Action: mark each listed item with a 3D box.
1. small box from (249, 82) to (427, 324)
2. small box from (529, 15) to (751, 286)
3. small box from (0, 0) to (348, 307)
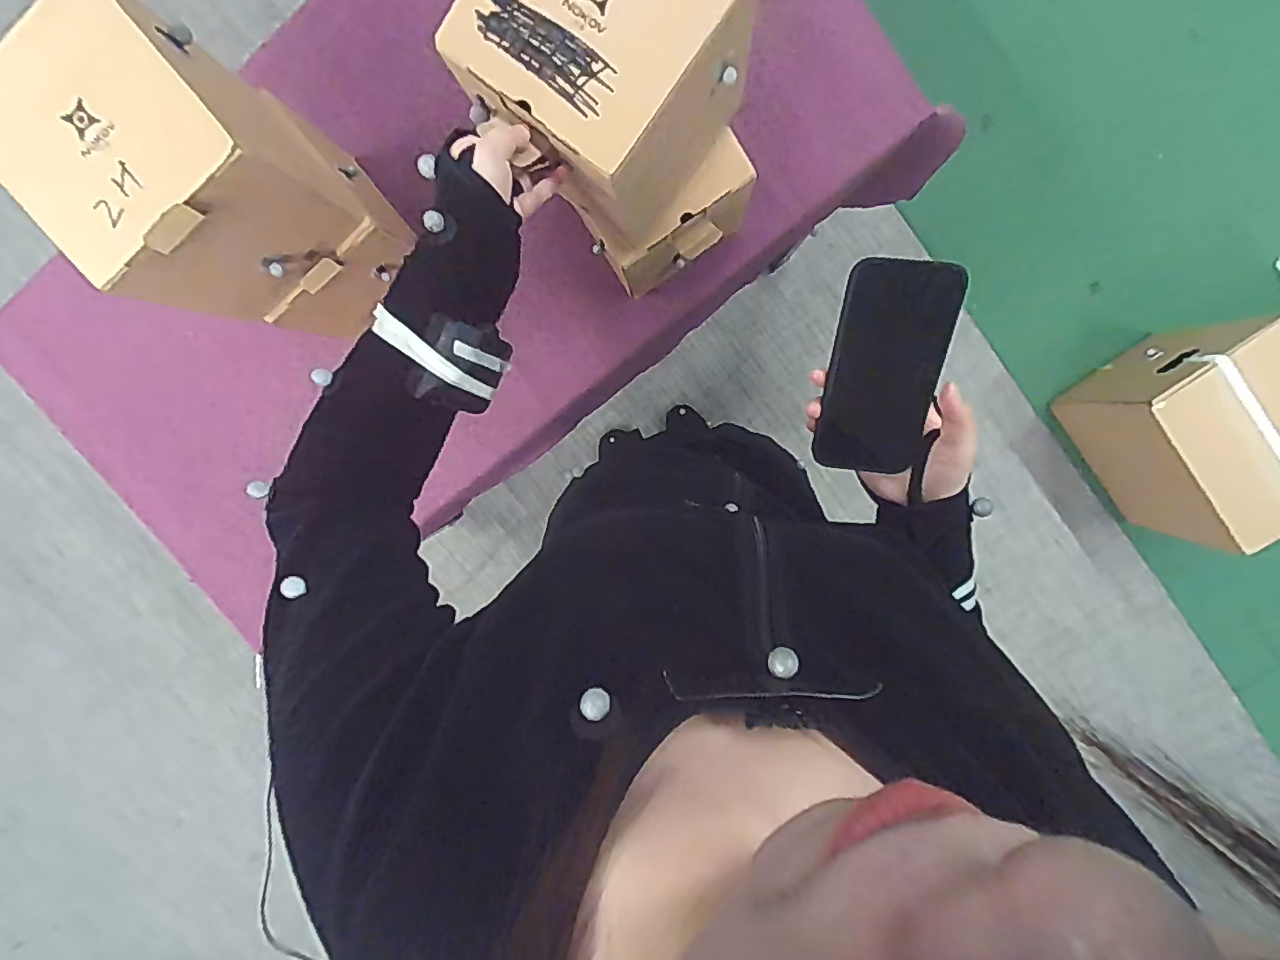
[{"bbox_3d":[-0.395,-0.307,0.650,0.168,0.176,0.179,-38,95,7],"label":"small box"},{"bbox_3d":[0.003,-0.353,0.622,0.168,0.176,0.179,-32,96,7],"label":"small box"},{"bbox_3d":[-0.417,-0.283,0.488,0.168,0.176,0.179,-38,95,7],"label":"small box"}]
